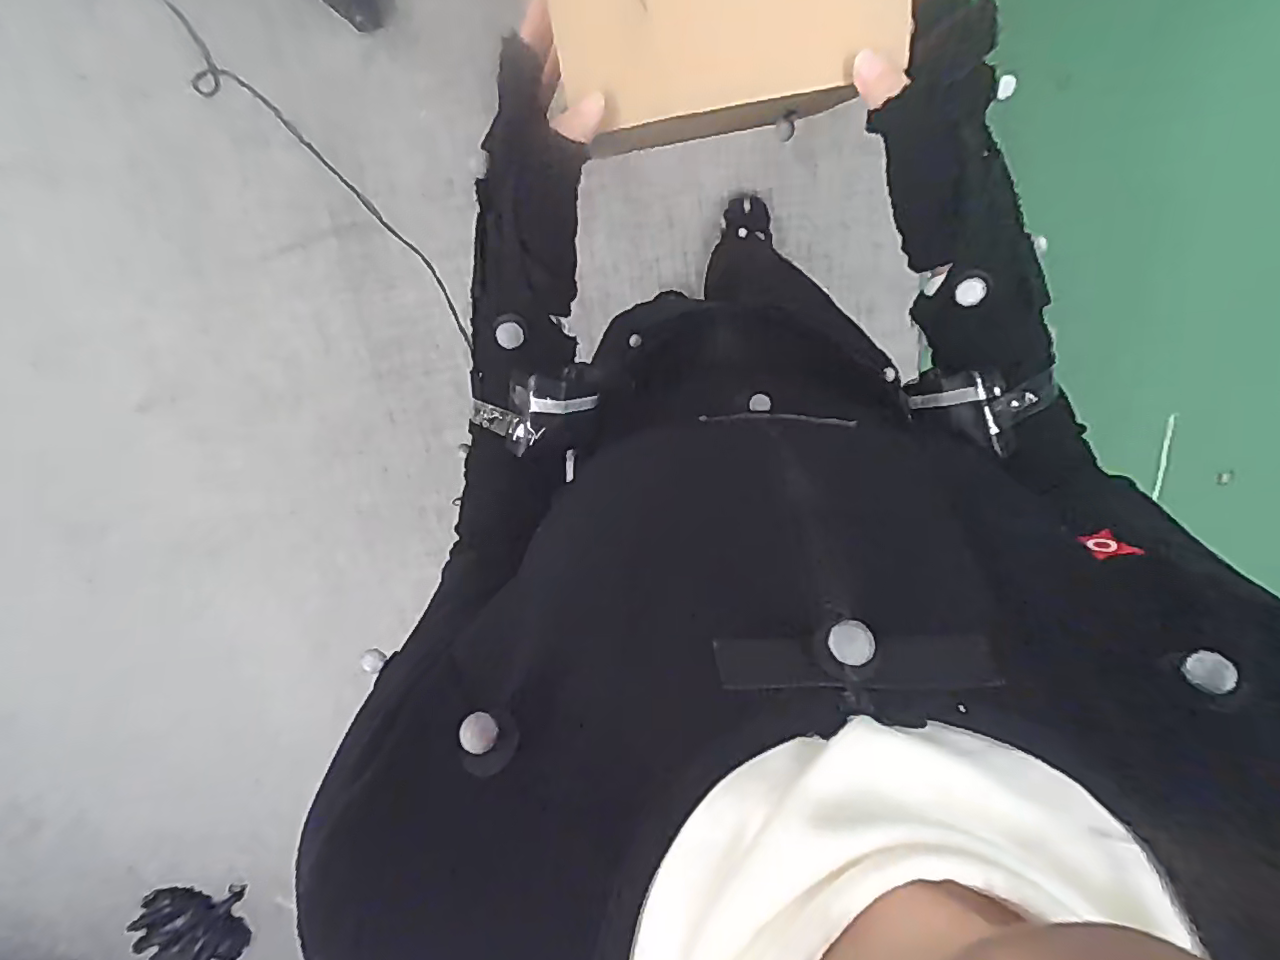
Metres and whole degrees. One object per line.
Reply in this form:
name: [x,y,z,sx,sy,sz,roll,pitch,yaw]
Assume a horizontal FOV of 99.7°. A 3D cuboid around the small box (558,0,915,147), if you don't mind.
small box: [0.037,-0.311,0.315,0.179,0.176,0.168,-10,116,4]
